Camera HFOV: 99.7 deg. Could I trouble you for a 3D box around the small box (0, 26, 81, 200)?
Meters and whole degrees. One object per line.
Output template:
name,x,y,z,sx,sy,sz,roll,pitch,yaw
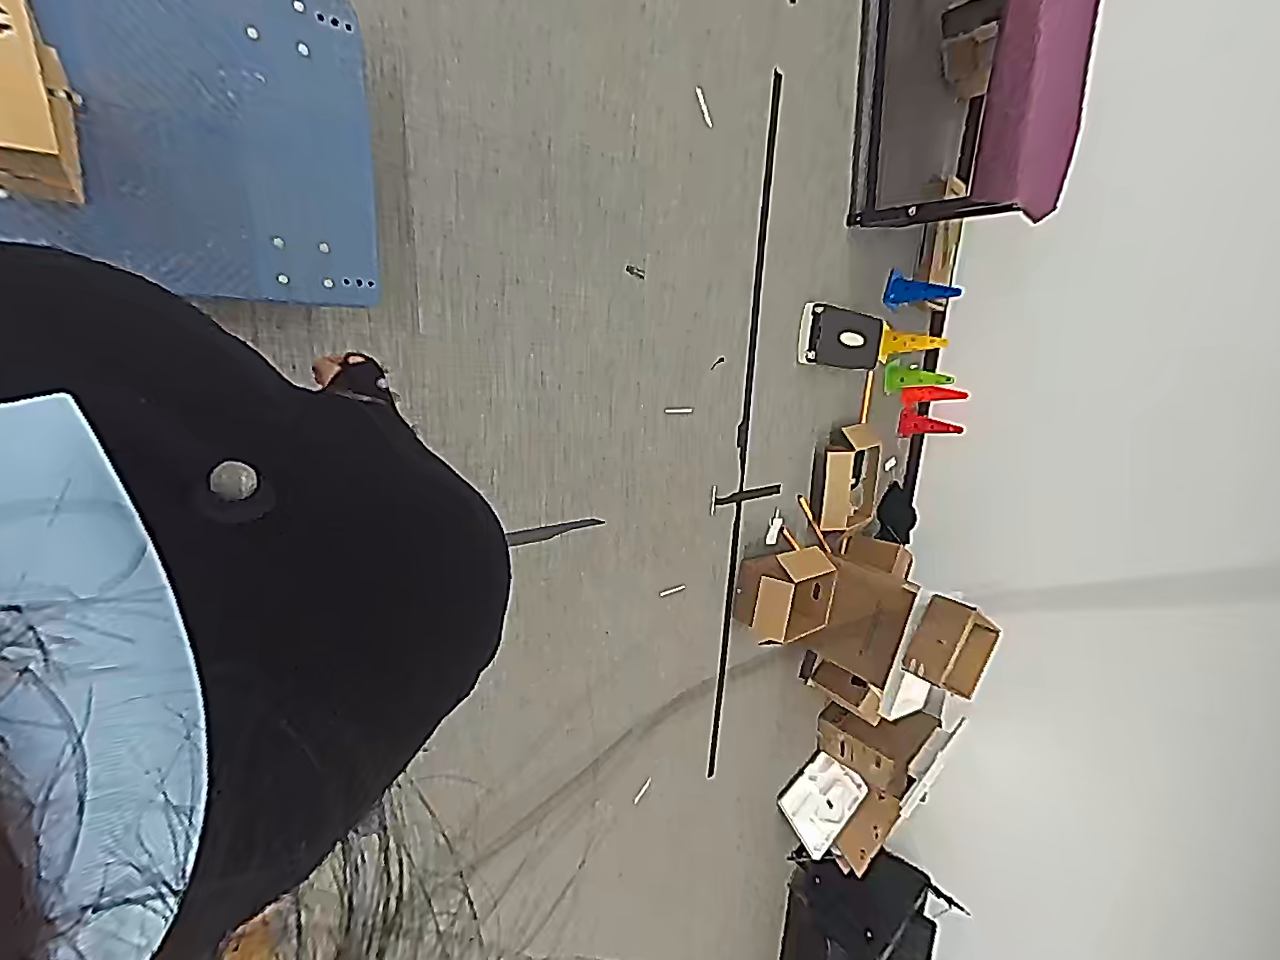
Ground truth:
small box,-0.904,-0.512,0.748,0.168,0.176,0.179,-5,106,-42

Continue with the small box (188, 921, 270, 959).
small box,-1.060,1.320,1.406,0.168,0.176,0.179,-11,109,-41
